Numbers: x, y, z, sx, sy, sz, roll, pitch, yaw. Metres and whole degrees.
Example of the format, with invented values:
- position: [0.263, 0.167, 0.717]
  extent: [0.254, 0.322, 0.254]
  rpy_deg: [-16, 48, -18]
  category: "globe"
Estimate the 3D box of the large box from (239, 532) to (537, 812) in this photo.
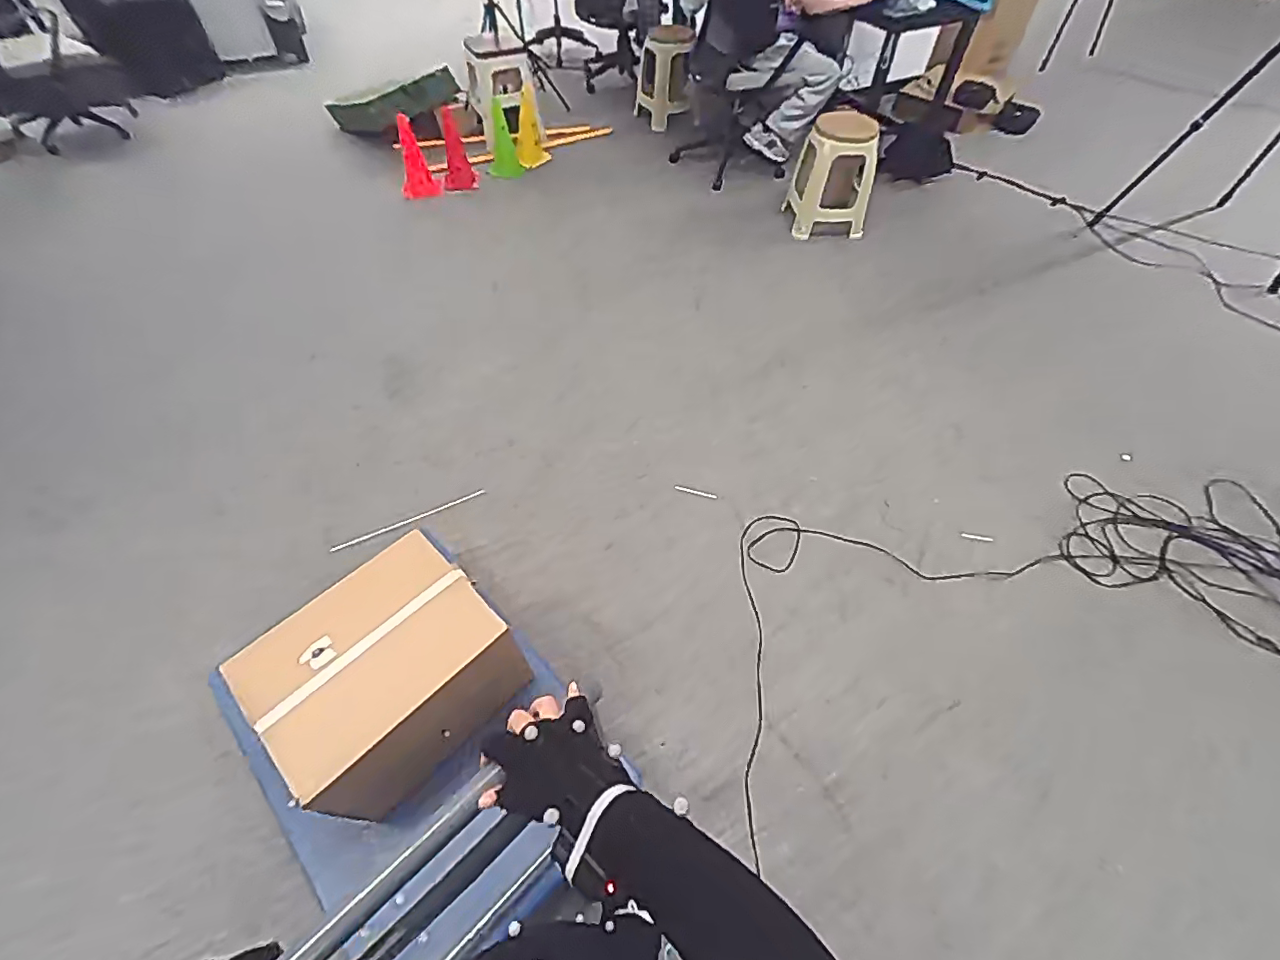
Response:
- position: [-0.480, 0.393, 1.118]
  extent: [0.320, 0.320, 0.408]
  rpy_deg: [37, 63, 25]
  category: "large box"
